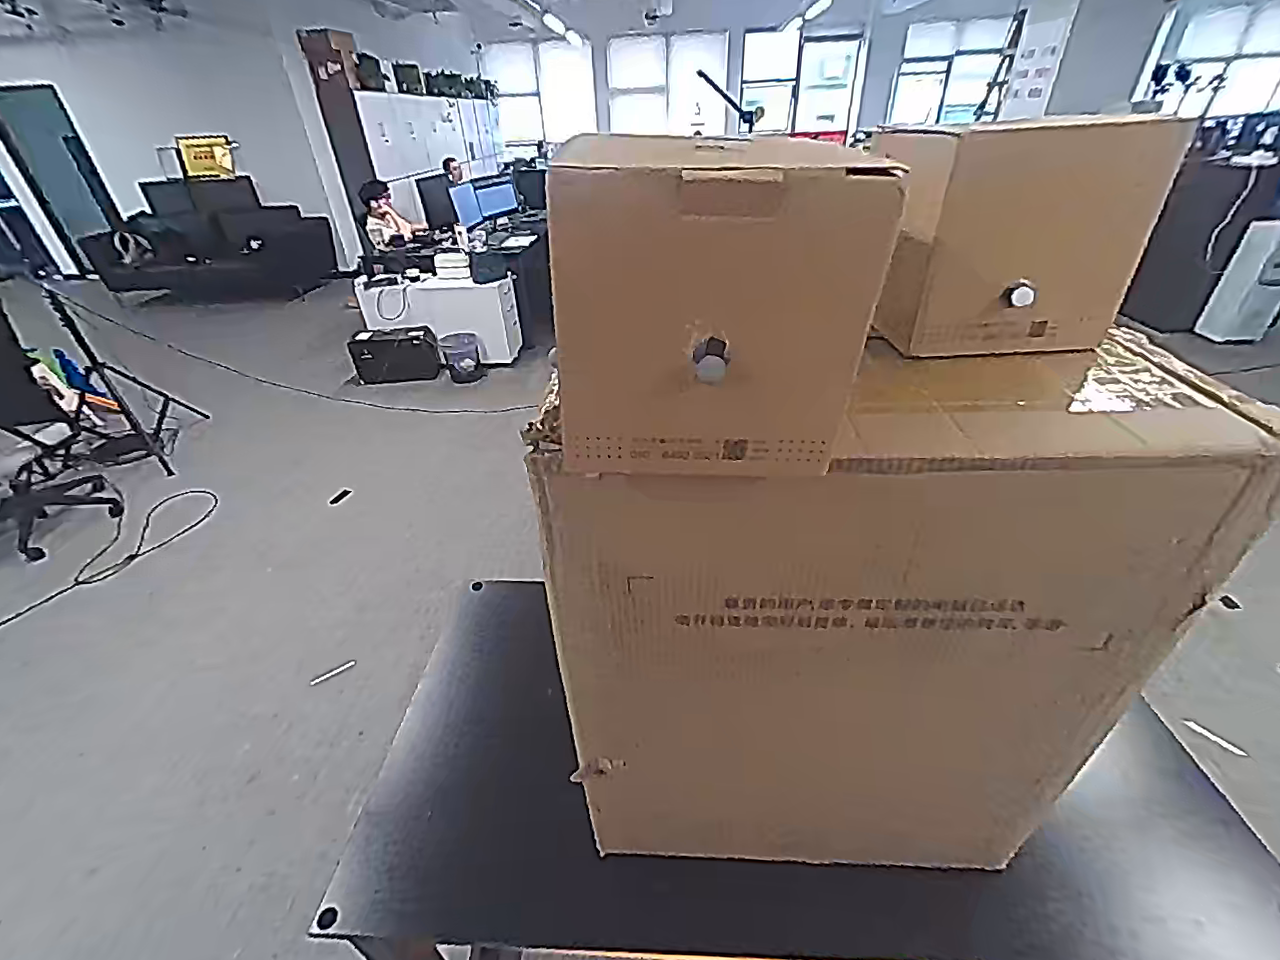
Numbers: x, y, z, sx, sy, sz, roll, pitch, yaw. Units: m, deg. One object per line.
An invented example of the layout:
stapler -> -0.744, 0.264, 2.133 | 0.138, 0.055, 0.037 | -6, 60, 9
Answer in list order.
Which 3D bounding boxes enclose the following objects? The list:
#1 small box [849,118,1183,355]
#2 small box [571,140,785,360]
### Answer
small box -> 0.305, -0.223, 0.494 | 0.168, 0.176, 0.179 | -3, 33, 3
small box -> 0.033, -0.224, 0.520 | 0.168, 0.176, 0.179 | -1, 34, 2
